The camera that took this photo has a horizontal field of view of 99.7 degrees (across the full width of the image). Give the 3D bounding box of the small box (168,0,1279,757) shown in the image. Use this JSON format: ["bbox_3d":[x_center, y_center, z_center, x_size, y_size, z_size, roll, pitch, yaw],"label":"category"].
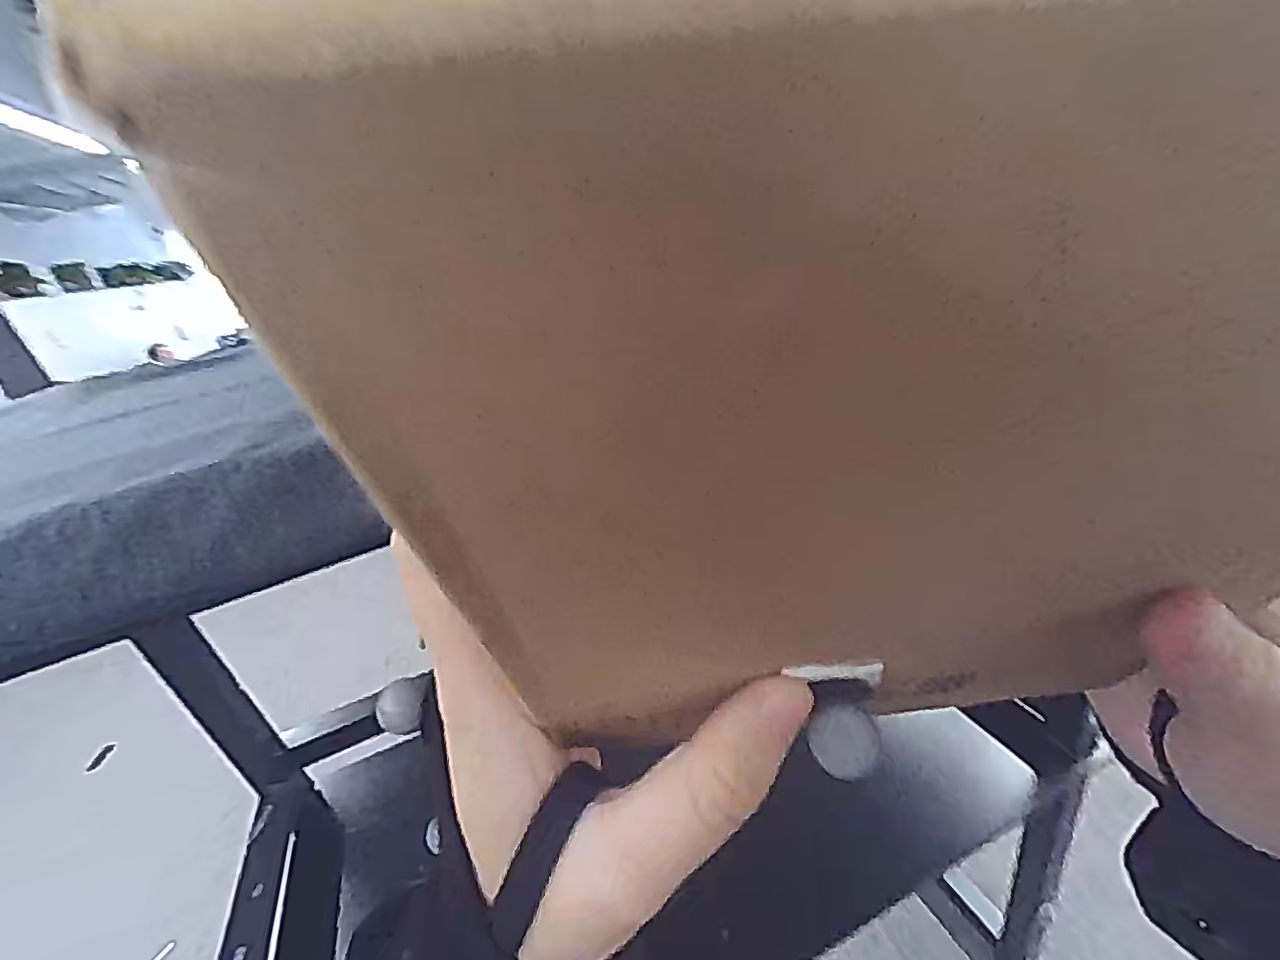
[{"bbox_3d":[0.049,-0.046,0.146,0.168,0.176,0.179,-7,52,-1],"label":"small box"}]
